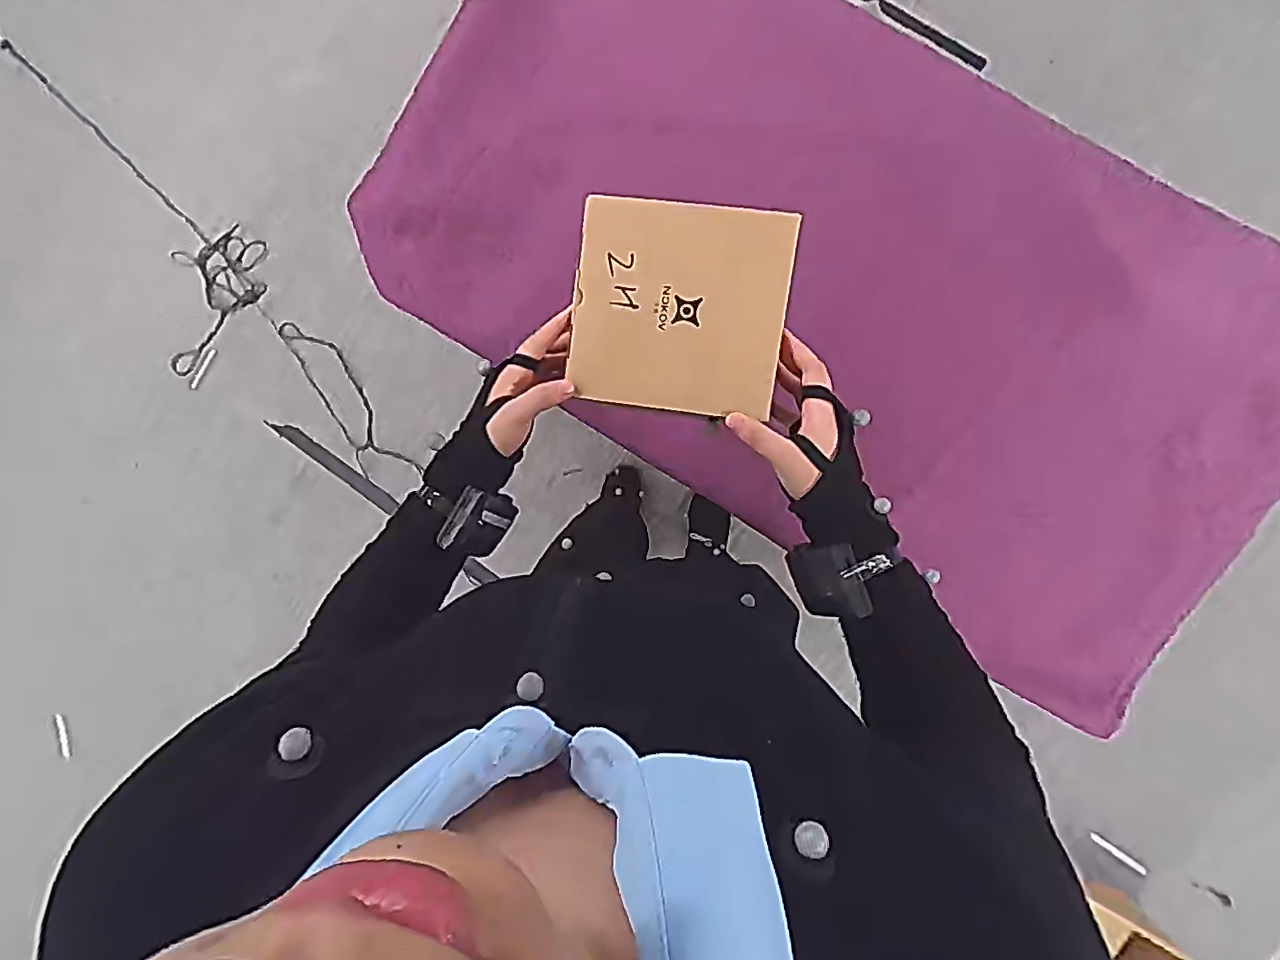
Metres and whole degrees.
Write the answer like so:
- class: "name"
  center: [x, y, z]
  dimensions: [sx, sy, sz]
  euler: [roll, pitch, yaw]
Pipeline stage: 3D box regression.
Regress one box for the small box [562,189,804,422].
- class: "small box"
  center: [0.040, -0.149, 0.516]
  dimensions: [0.179, 0.176, 0.168]
  euler: [9, 96, 6]
